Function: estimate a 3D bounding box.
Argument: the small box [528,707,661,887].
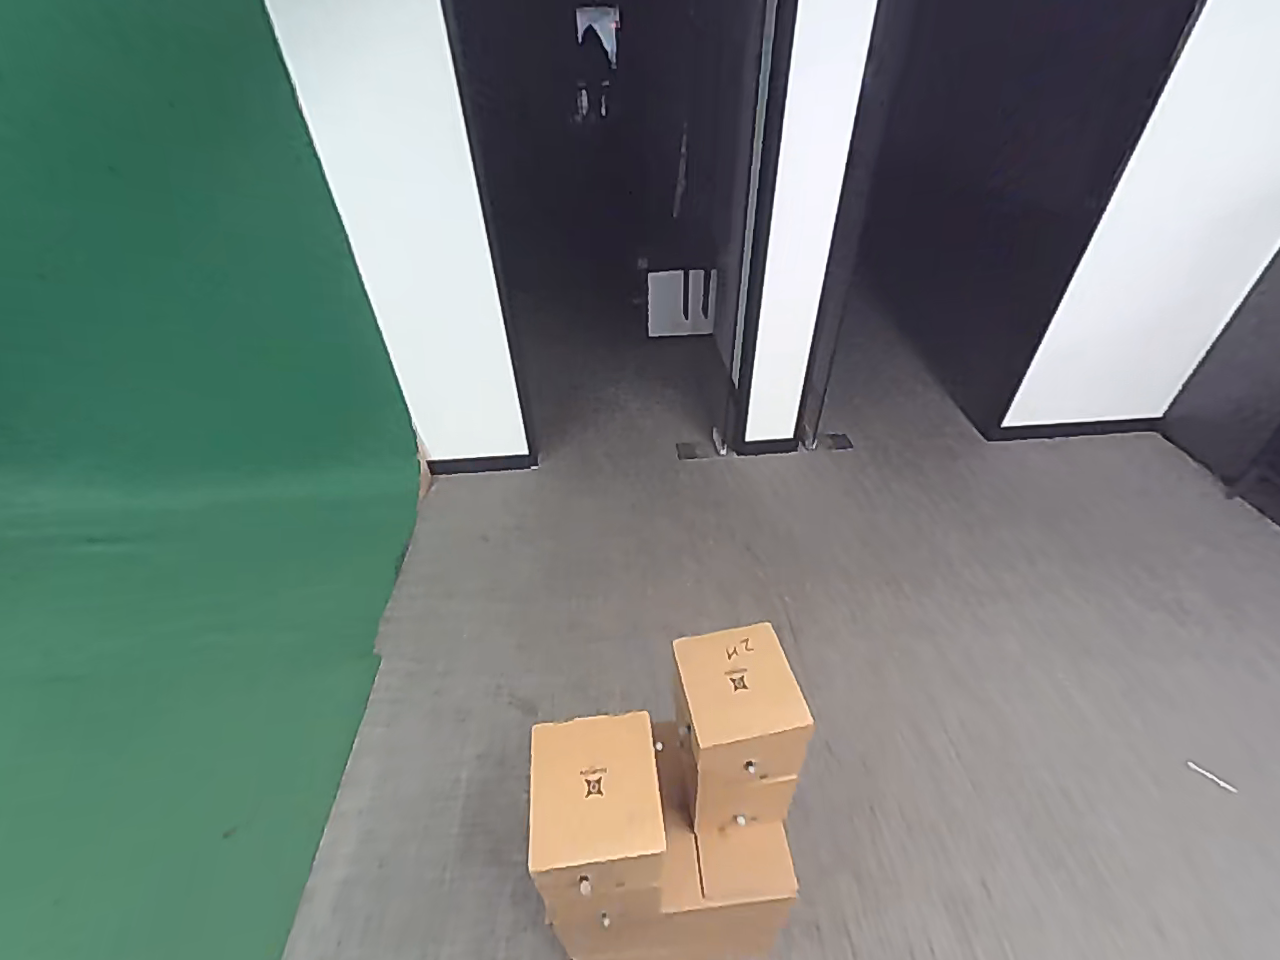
[{"bbox_3d":[-0.061,0.450,0.763,0.168,0.176,0.179,-5,43,-5],"label":"small box"}]

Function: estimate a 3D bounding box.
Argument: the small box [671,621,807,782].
[{"bbox_3d":[0.148,0.356,0.860,0.168,0.176,0.179,-8,41,-5],"label":"small box"}]
